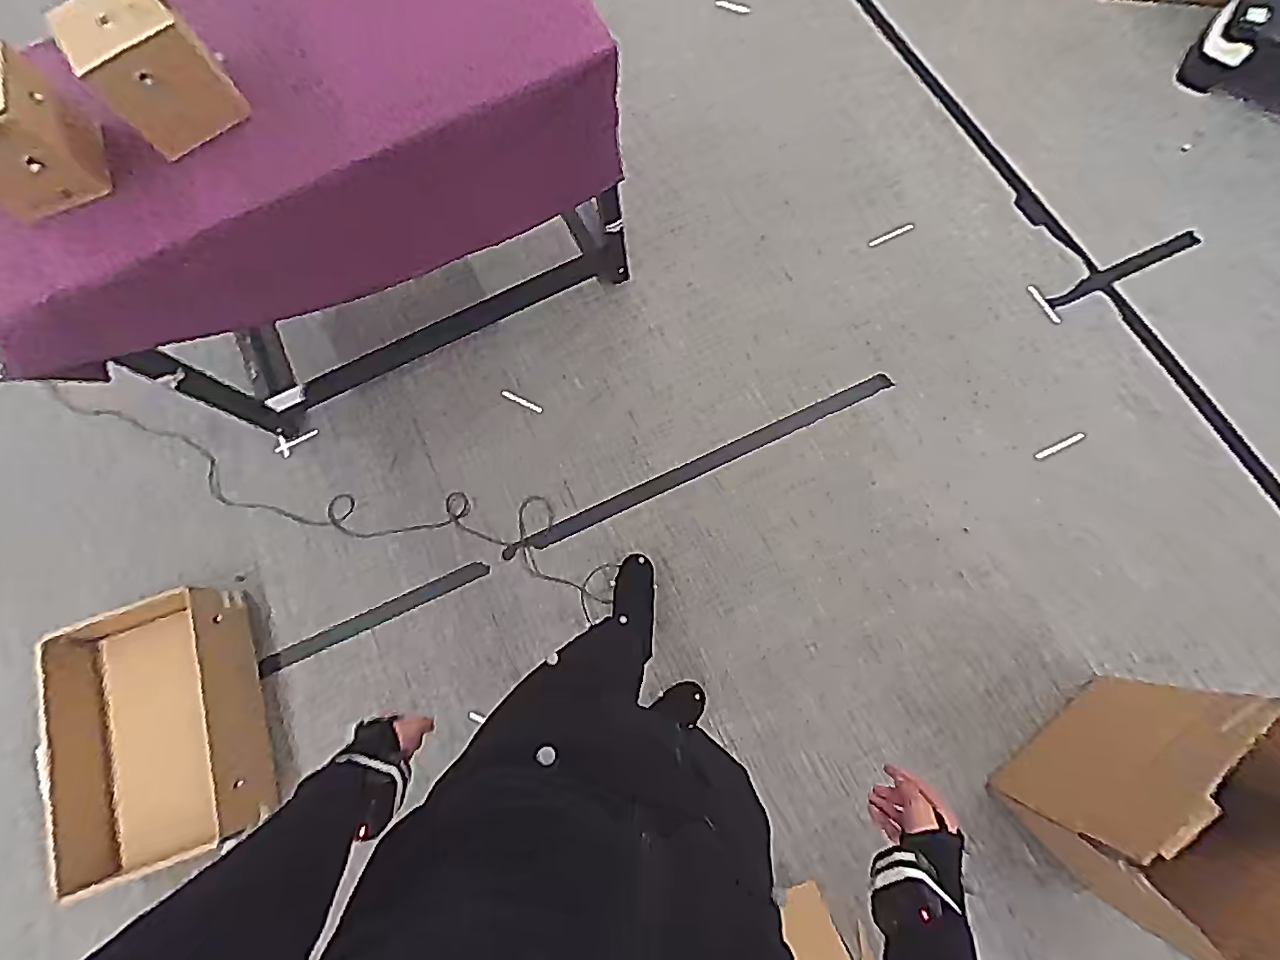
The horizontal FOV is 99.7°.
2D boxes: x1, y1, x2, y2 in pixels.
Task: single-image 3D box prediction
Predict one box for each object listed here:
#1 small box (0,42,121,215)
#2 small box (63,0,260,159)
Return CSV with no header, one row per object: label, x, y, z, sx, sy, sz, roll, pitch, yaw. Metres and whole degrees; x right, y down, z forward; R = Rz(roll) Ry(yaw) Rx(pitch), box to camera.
small box,-1.063,-0.595,0.942,0.168,0.176,0.179,-21,75,-3
small box,-0.834,-0.719,0.959,0.179,0.176,0.168,-35,77,-6
